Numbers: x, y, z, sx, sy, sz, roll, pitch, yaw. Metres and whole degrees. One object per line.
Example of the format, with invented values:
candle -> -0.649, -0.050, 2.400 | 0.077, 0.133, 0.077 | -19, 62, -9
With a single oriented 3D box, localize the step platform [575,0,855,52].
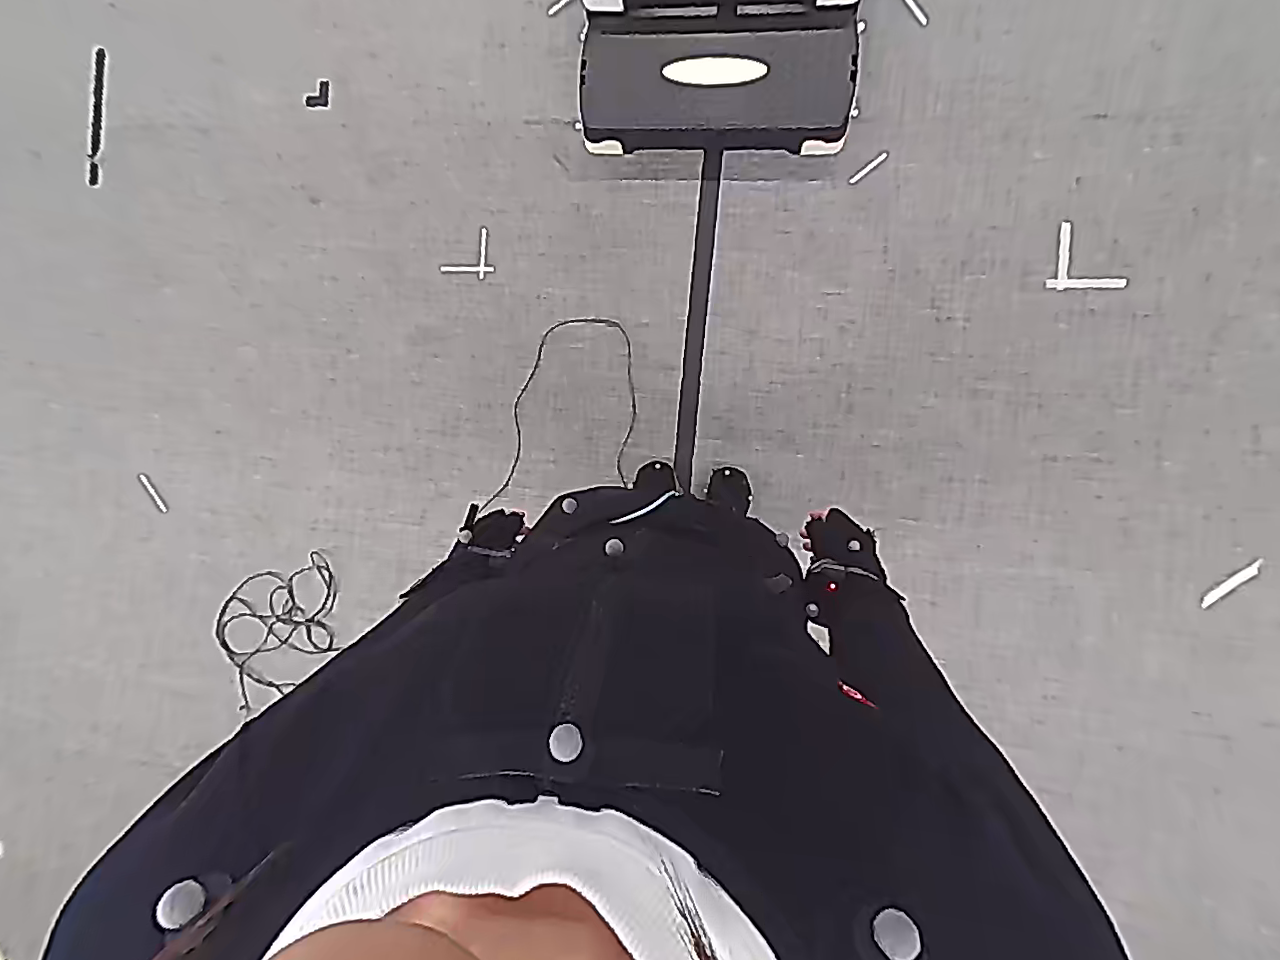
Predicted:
step platform -> 0.179, -1.239, 1.280 | 0.684, 0.204, 0.286 | 4, 94, 7
